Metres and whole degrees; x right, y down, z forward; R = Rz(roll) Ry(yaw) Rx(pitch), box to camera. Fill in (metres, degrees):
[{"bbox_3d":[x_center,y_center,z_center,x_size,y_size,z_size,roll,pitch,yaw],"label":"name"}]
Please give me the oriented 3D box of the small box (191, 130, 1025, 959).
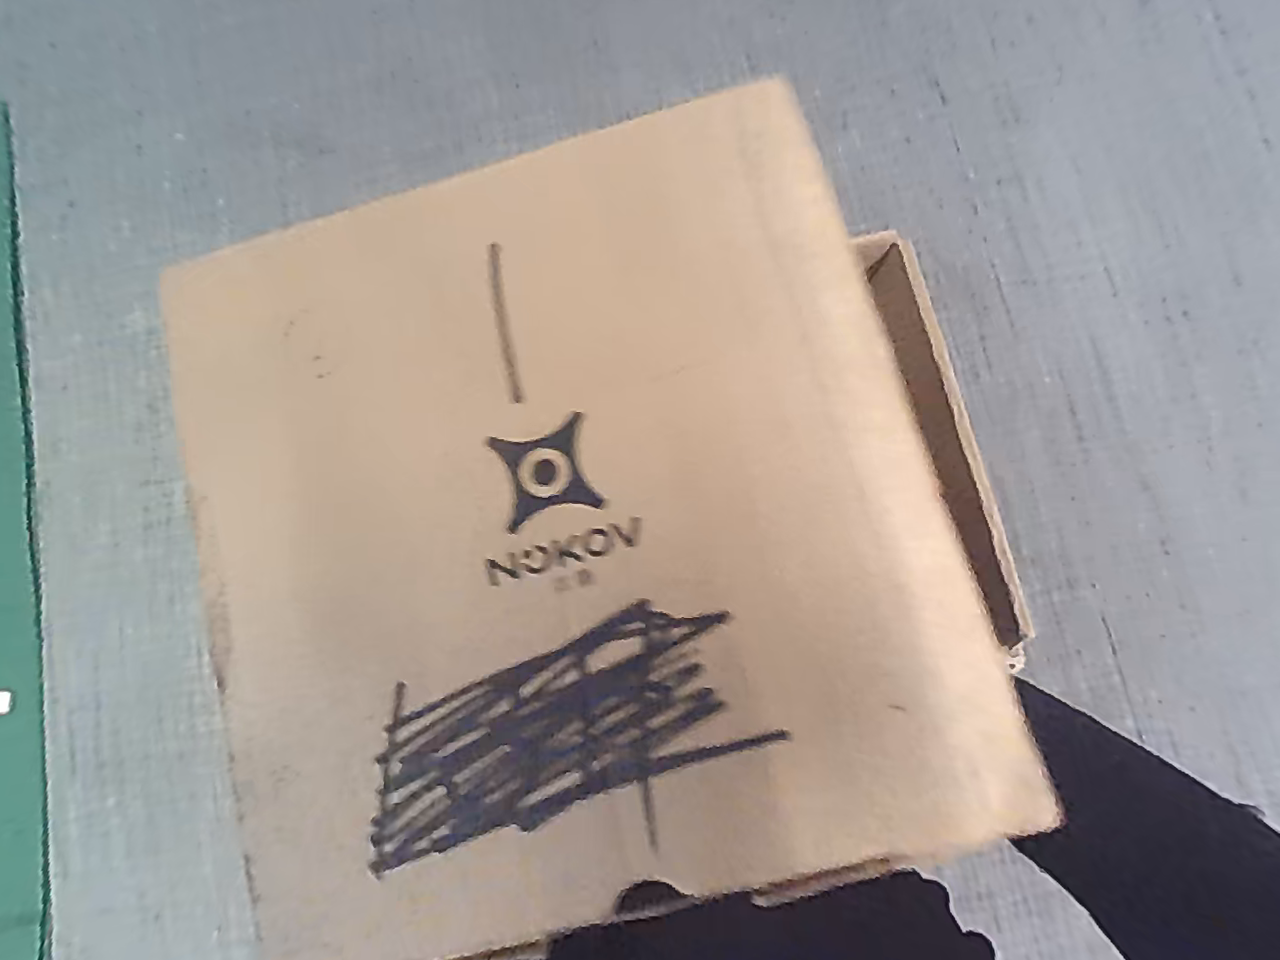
[{"bbox_3d":[-0.012,0.025,0.206,0.168,0.176,0.179,-15,81,2],"label":"small box"}]
